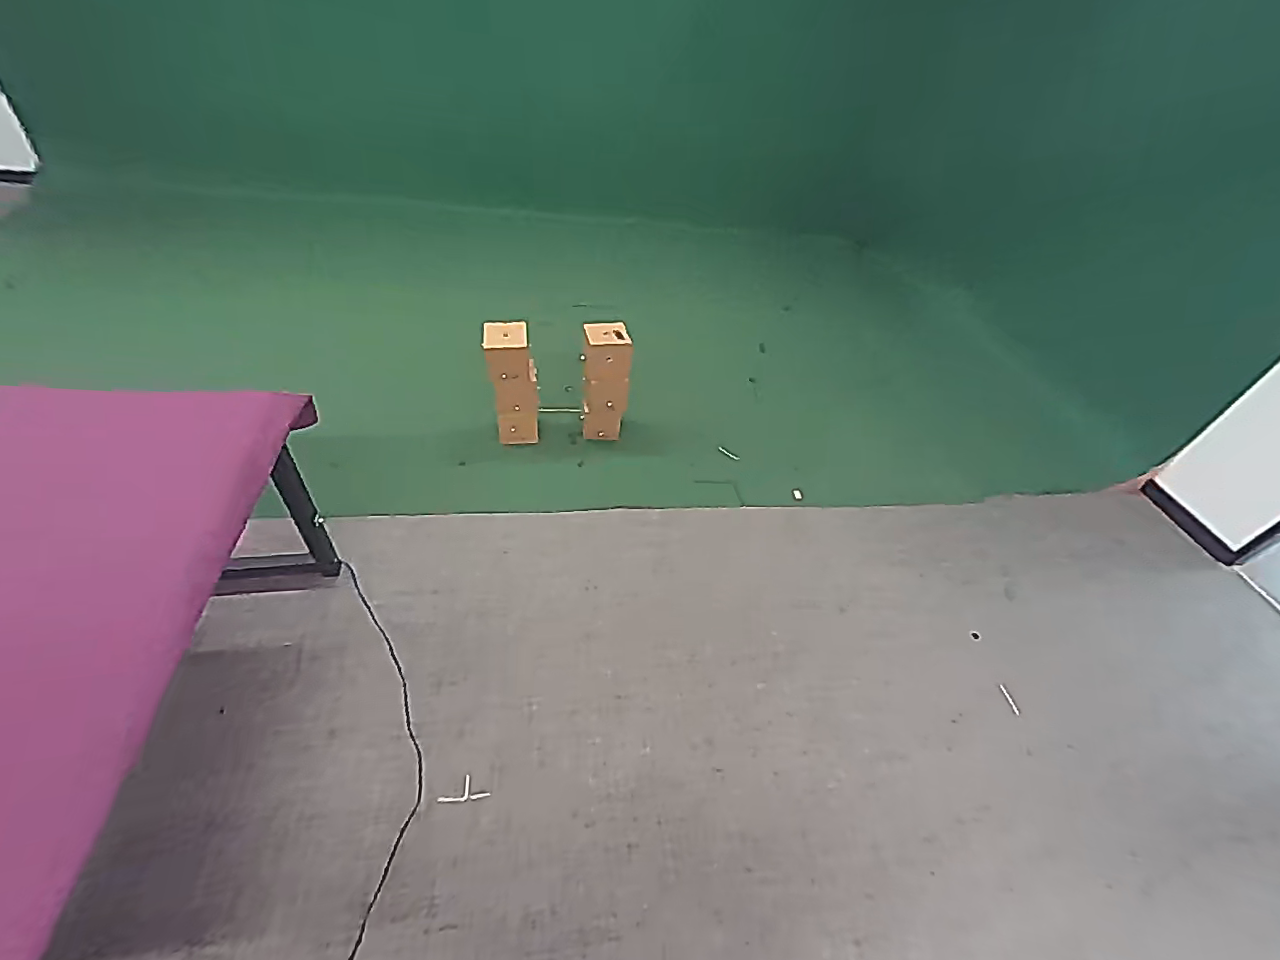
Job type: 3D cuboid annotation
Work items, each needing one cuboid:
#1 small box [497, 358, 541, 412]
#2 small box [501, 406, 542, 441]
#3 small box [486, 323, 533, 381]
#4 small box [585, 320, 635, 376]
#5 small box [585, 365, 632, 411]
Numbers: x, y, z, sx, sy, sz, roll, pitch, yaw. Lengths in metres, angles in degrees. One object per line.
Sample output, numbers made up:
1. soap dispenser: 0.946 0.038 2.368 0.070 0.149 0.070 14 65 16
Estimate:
1. small box: -0.517 -0.402 2.300 0.179 0.176 0.168 -4 46 -12
2. small box: -0.528 -0.287 2.415 0.168 0.176 0.179 -3 45 -10
3. small box: -0.524 -0.517 2.182 0.168 0.176 0.179 -4 46 -9
4. small box: -0.132 -0.553 2.268 0.179 0.176 0.168 -7 47 -14
5. small box: -0.143 -0.424 2.373 0.168 0.176 0.179 -9 48 -15
